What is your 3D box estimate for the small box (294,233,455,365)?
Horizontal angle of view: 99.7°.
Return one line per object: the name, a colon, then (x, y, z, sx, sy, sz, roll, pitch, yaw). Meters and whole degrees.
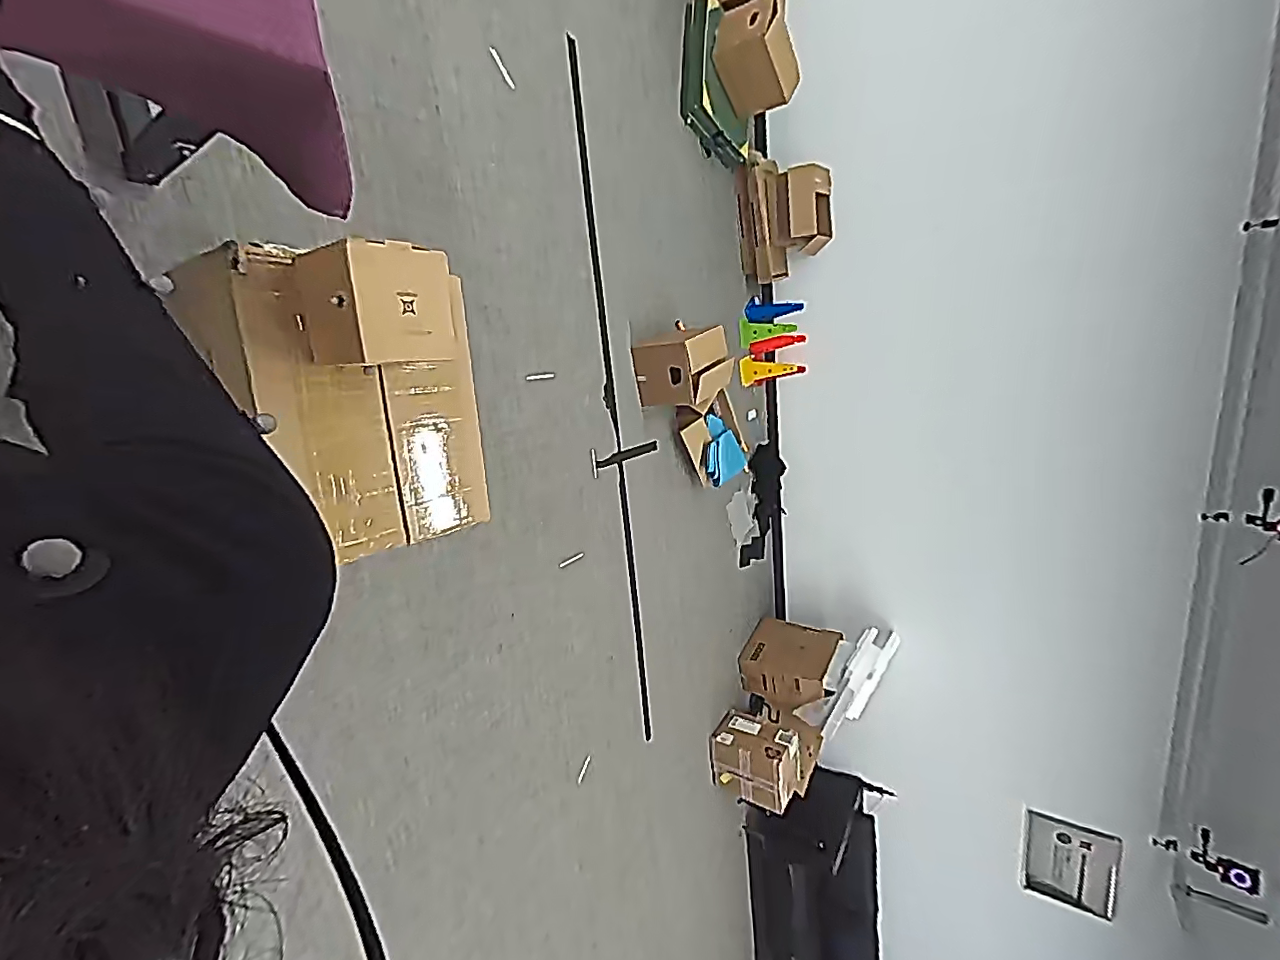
small box: (-0.430, -0.281, 0.878, 0.168, 0.176, 0.179, -19, 111, -51)
